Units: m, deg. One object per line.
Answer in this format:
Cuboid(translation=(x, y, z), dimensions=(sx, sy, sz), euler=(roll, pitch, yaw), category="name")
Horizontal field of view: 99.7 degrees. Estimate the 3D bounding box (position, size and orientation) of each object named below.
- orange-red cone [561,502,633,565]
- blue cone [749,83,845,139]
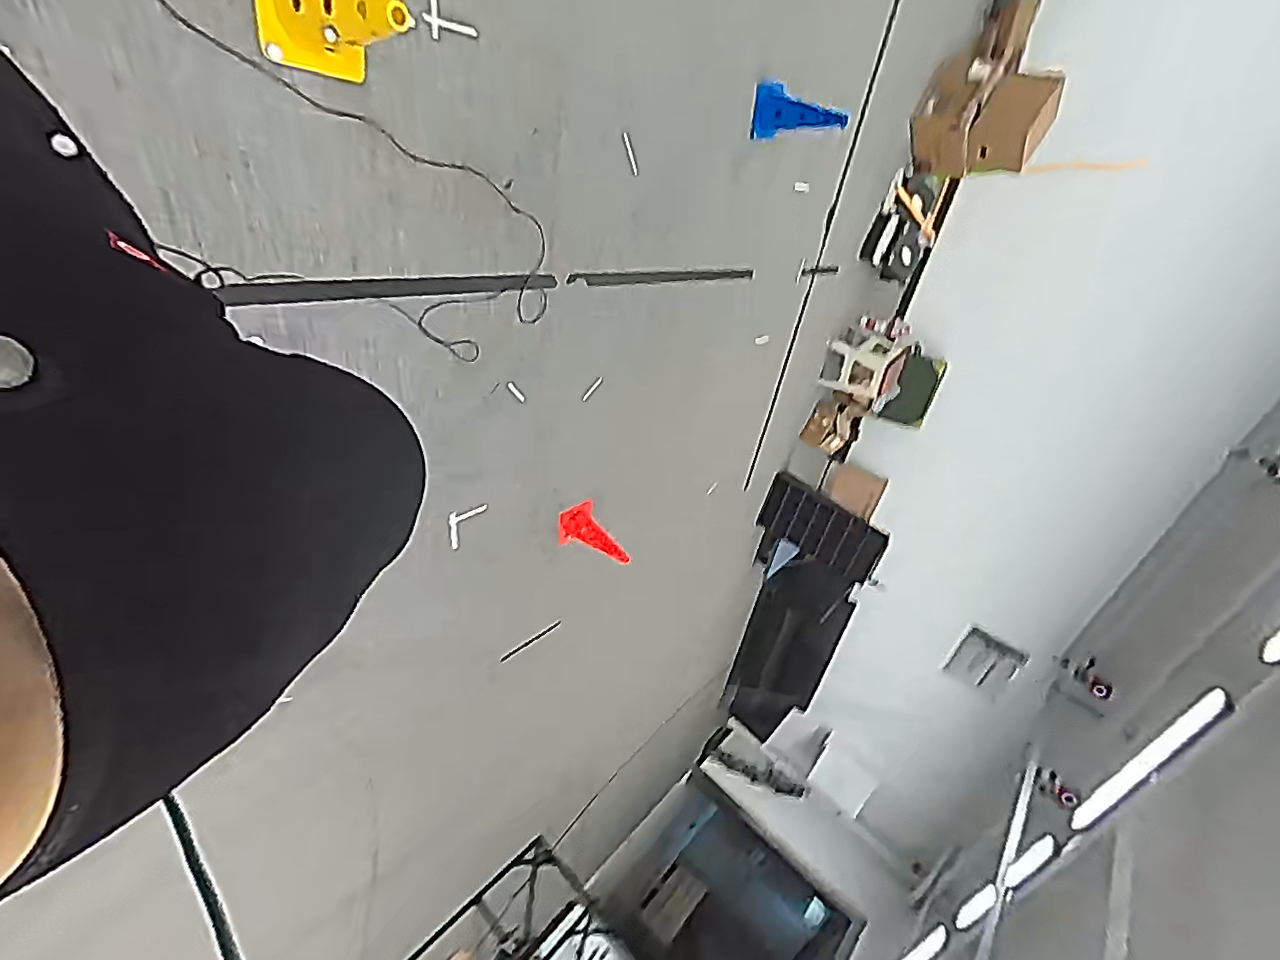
Cuboid(translation=(-0.173, 0.288, 2.518), dimensions=(0.199, 0.360, 0.198), euler=(-30, 140, -41), category="orange-red cone")
Cuboid(translation=(0.641, -1.456, 2.160), dimensions=(0.193, 0.380, 0.192), euler=(-29, 139, -40), category="blue cone")
